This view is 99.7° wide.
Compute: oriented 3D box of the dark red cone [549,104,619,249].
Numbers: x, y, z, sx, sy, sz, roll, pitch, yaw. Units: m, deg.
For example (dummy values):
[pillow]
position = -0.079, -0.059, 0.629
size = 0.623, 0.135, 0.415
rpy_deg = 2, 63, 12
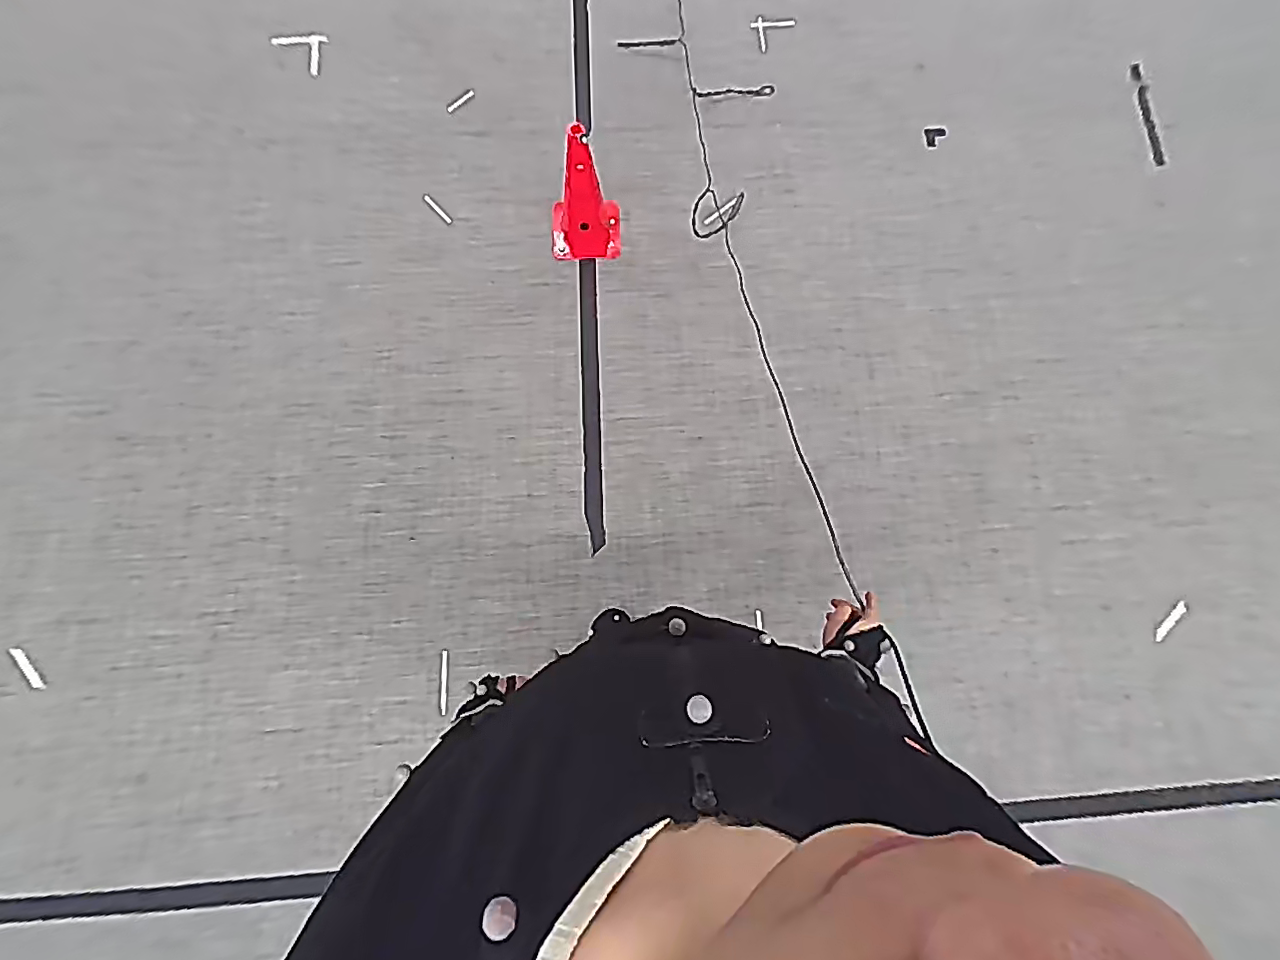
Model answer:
[dark red cone]
position = -0.158, -0.802, 1.430
size = 0.201, 0.394, 0.202
rpy_deg = -3, 77, -4
